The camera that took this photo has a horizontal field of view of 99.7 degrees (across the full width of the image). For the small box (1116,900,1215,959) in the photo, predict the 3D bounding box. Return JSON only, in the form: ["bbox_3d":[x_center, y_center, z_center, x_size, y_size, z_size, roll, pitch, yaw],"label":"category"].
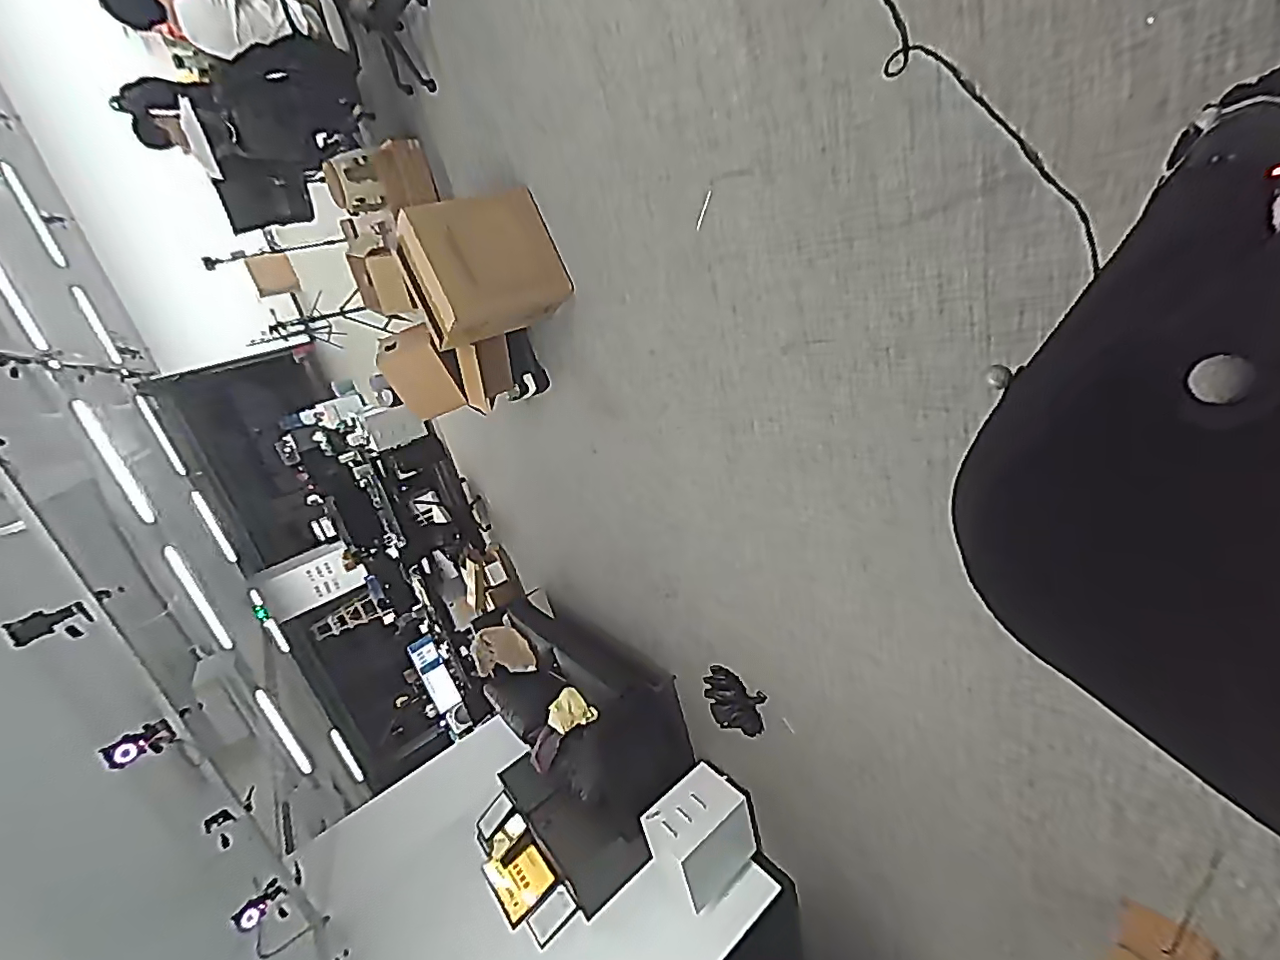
[{"bbox_3d":[1.502,1.363,1.551,0.179,0.176,0.168,12,123,51],"label":"small box"}]

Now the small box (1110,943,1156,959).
[{"bbox_3d":[1.375,1.419,1.466,0.179,0.176,0.168,16,127,52],"label":"small box"}]
